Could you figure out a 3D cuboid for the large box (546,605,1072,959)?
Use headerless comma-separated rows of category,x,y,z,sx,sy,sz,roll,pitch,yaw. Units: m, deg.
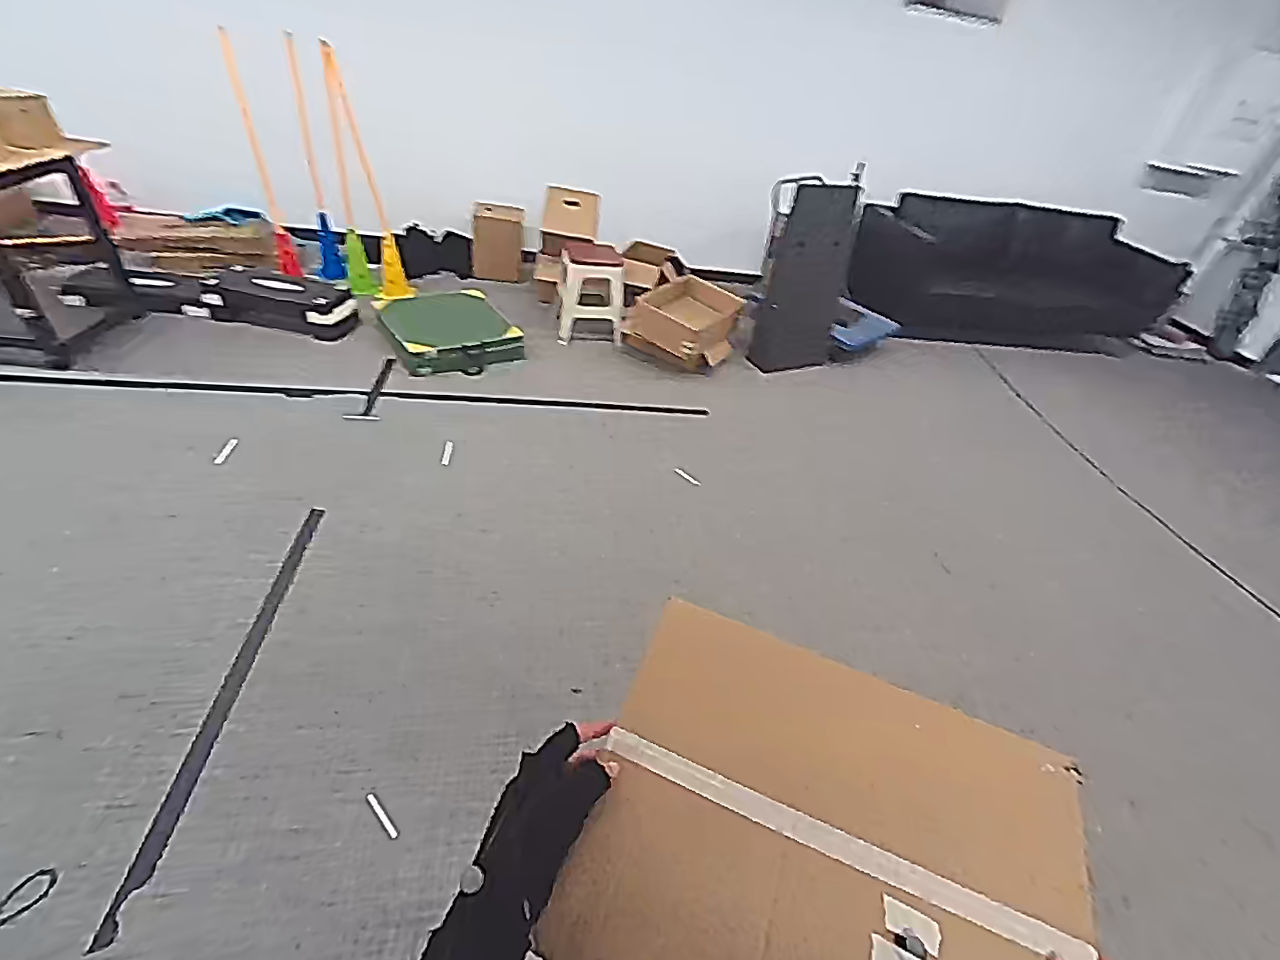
large box,0.151,0.400,0.587,0.408,0.320,0.320,20,53,12
